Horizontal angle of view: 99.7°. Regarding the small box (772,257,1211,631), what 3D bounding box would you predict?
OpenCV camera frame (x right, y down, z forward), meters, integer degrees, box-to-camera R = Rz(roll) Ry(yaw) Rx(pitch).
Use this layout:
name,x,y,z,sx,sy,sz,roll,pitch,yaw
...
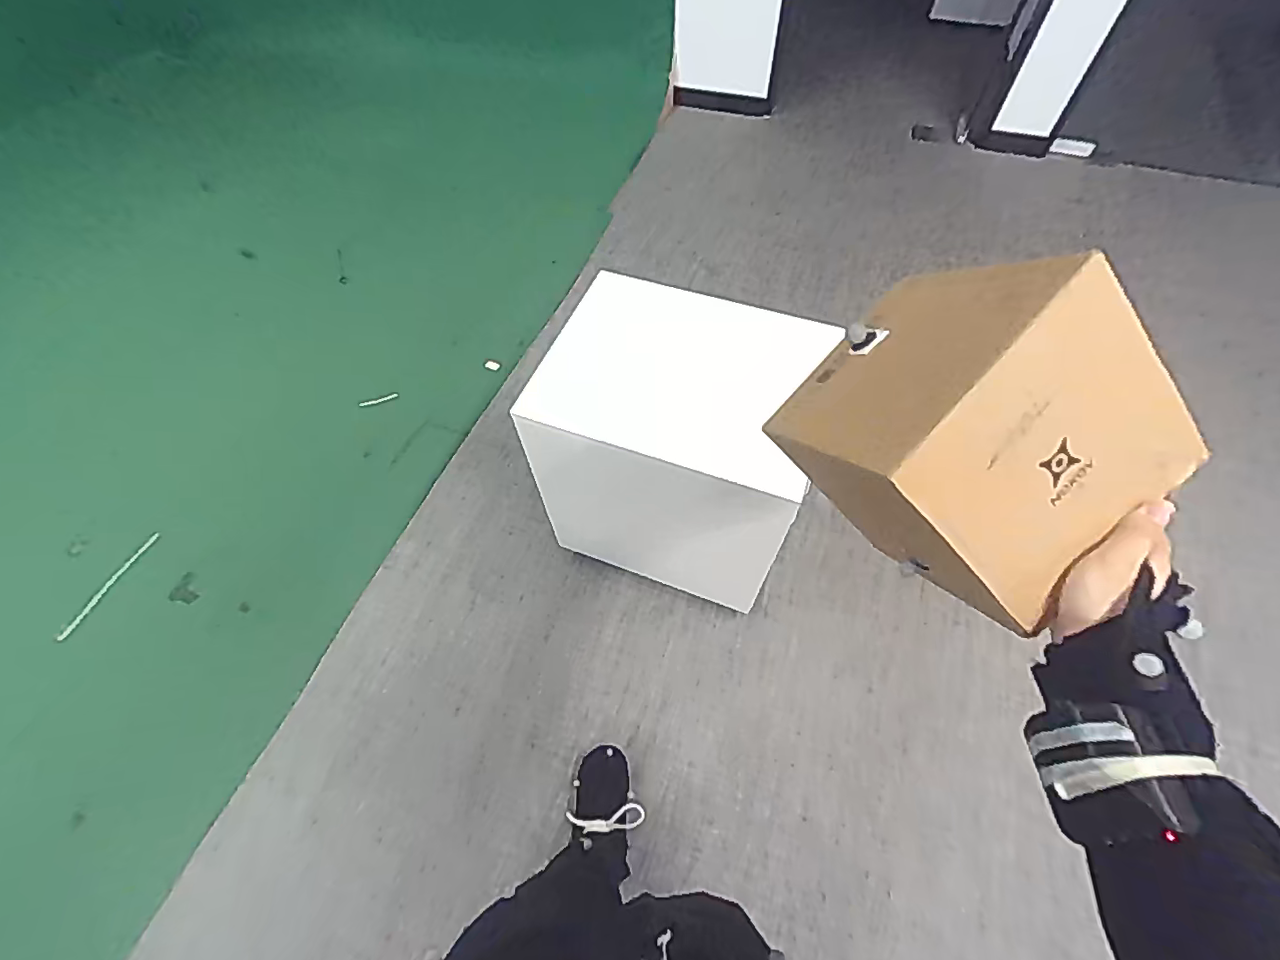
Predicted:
name,x,y,z,sx,sy,sz,roll,pitch,yaw
small box,0.236,-0.032,0.400,0.179,0.176,0.168,41,92,-18
